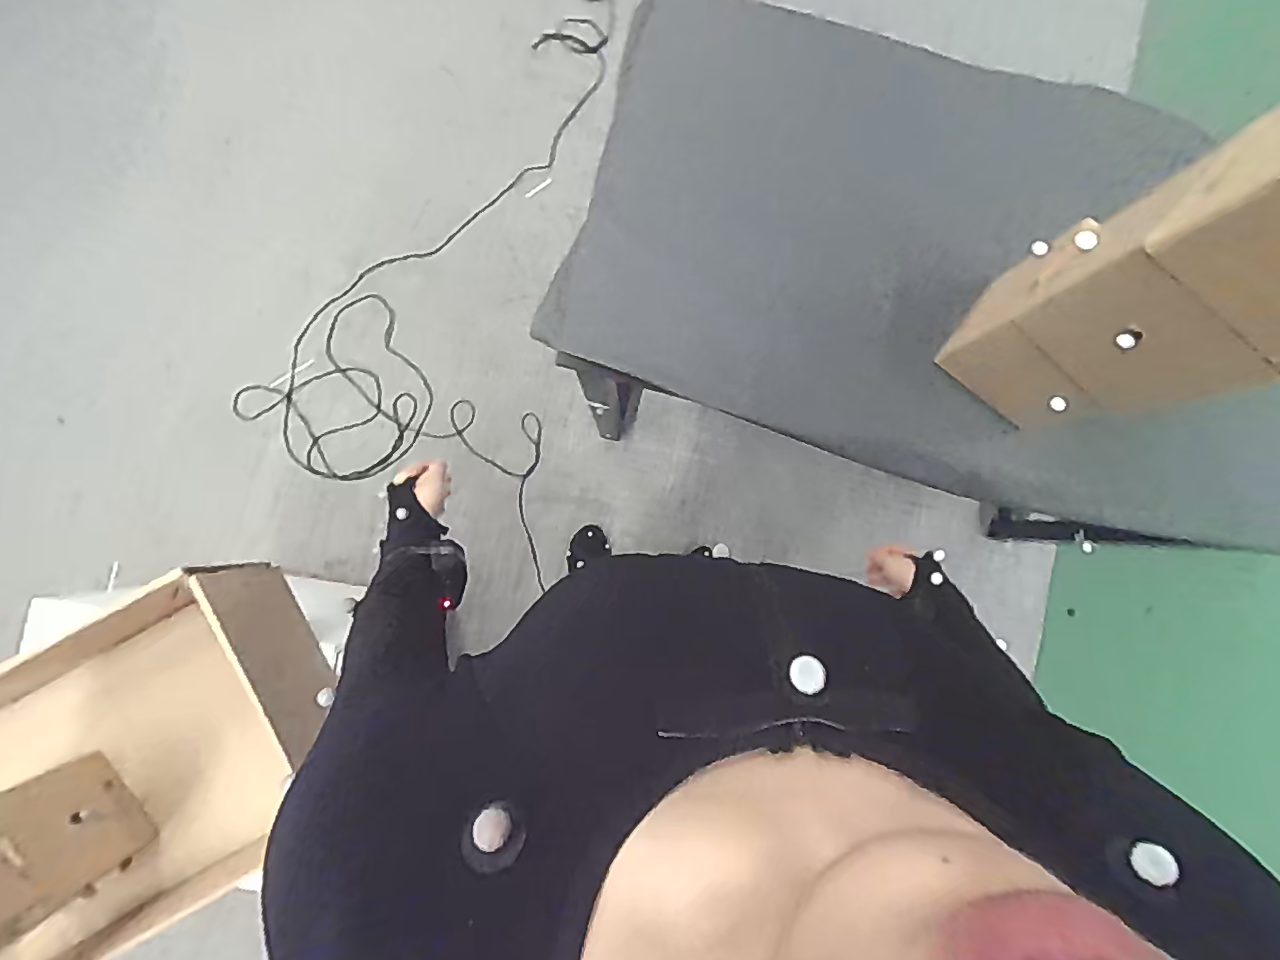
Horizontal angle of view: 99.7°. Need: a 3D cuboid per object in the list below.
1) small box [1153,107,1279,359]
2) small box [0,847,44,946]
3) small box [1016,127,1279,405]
[{"bbox_3d":[0.552,-0.212,0.392,0.179,0.176,0.168,44,85,2],"label":"small box"},{"bbox_3d":[-0.839,0.503,0.580,0.179,0.176,0.168,36,86,-1],"label":"small box"},{"bbox_3d":[0.552,-0.196,0.554,0.168,0.176,0.179,-44,86,-5],"label":"small box"}]
